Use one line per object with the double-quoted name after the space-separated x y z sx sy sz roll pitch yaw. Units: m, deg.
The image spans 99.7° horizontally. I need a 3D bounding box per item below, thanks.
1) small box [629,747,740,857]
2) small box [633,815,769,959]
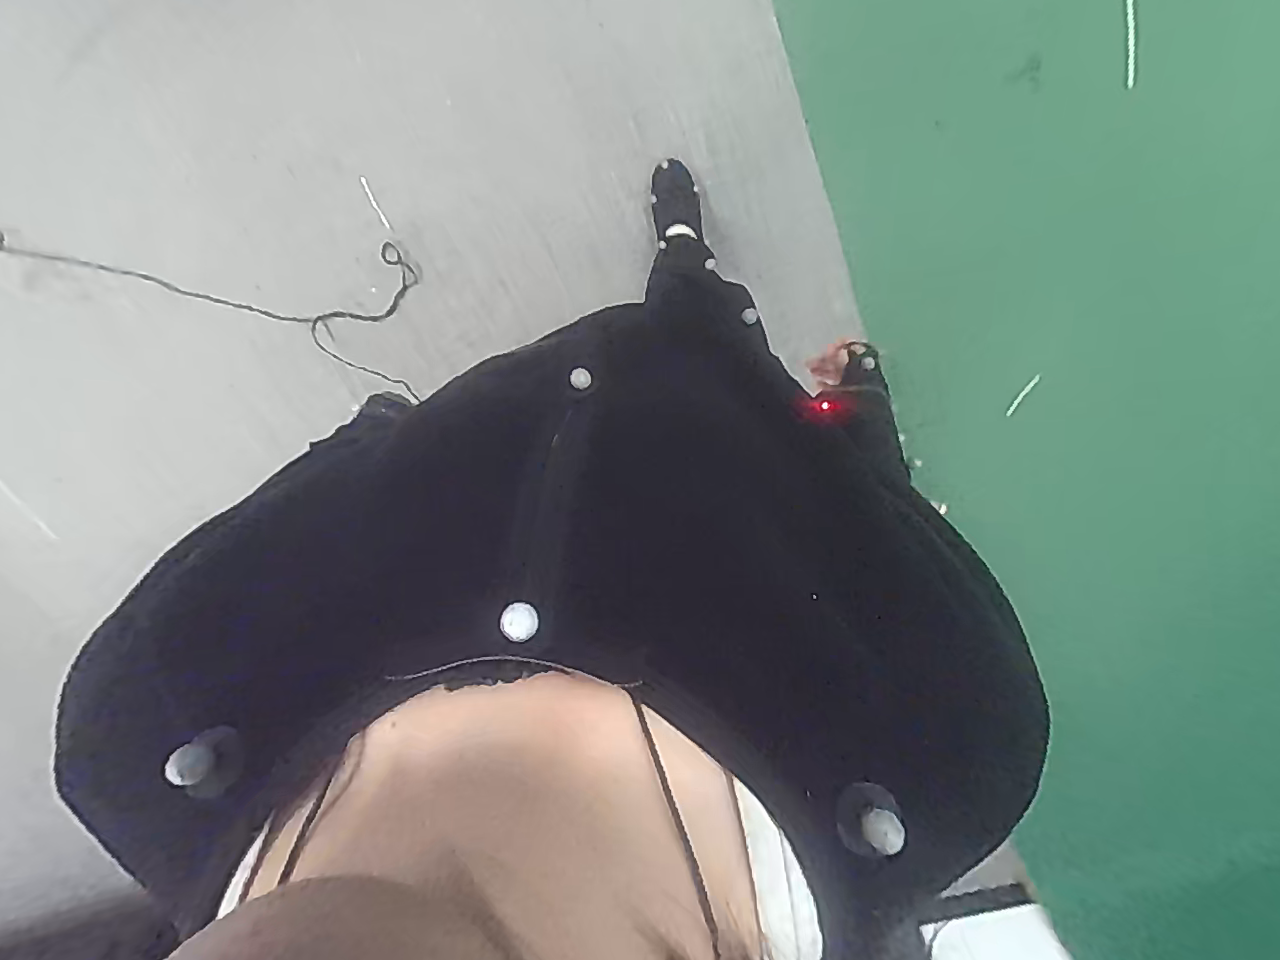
0.096 0.704 1.133 0.168 0.176 0.179 -36 107 14 "small box"
0.101 0.752 0.977 0.168 0.176 0.179 36 108 -12 "small box"
